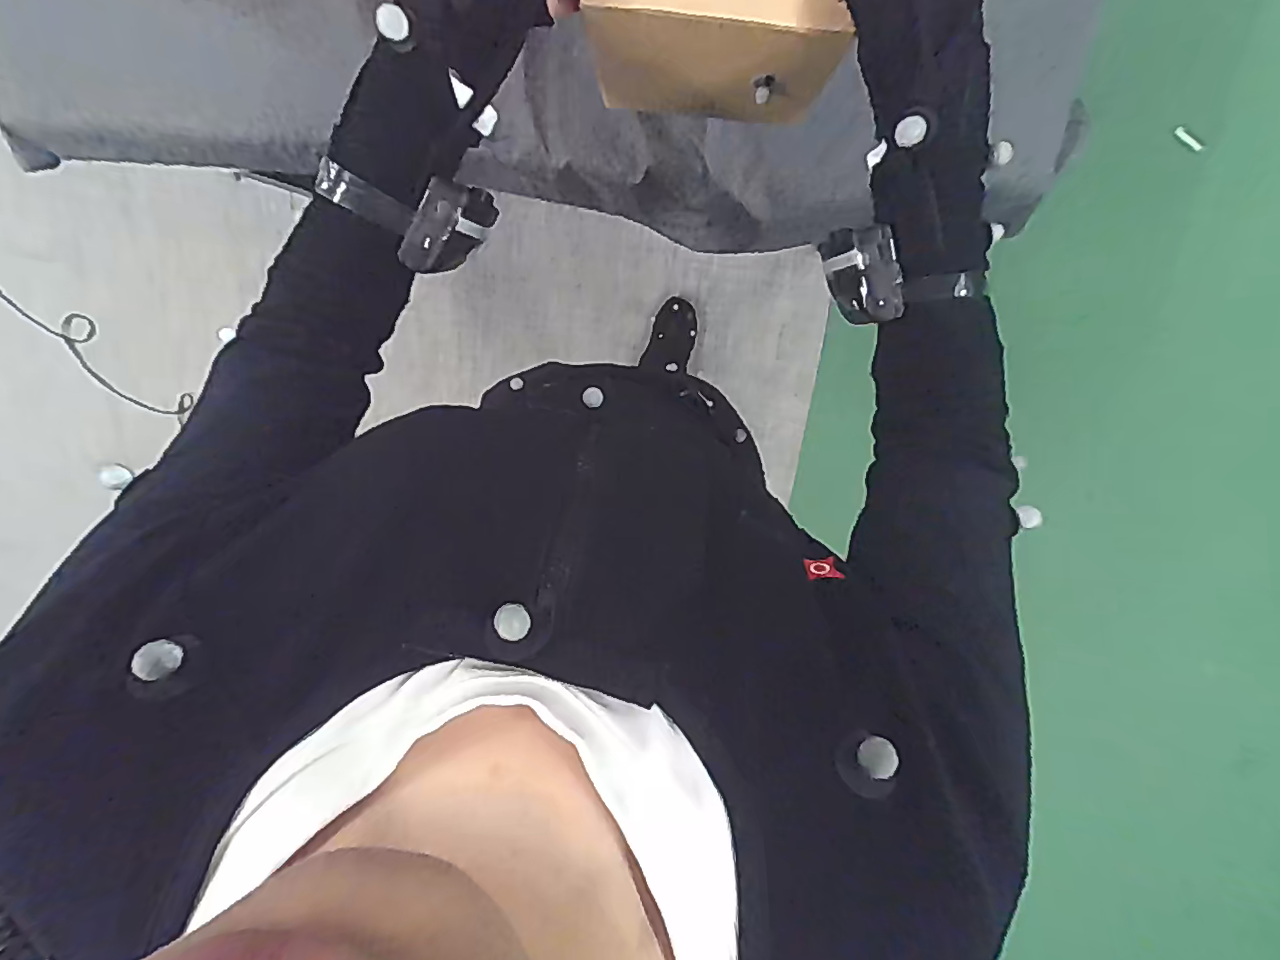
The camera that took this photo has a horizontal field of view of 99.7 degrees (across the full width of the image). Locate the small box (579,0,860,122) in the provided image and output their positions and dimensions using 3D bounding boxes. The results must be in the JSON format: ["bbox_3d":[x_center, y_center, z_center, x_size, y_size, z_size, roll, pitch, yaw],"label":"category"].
[{"bbox_3d":[0.060,-0.385,0.393,0.179,0.176,0.168,6,105,3],"label":"small box"}]
